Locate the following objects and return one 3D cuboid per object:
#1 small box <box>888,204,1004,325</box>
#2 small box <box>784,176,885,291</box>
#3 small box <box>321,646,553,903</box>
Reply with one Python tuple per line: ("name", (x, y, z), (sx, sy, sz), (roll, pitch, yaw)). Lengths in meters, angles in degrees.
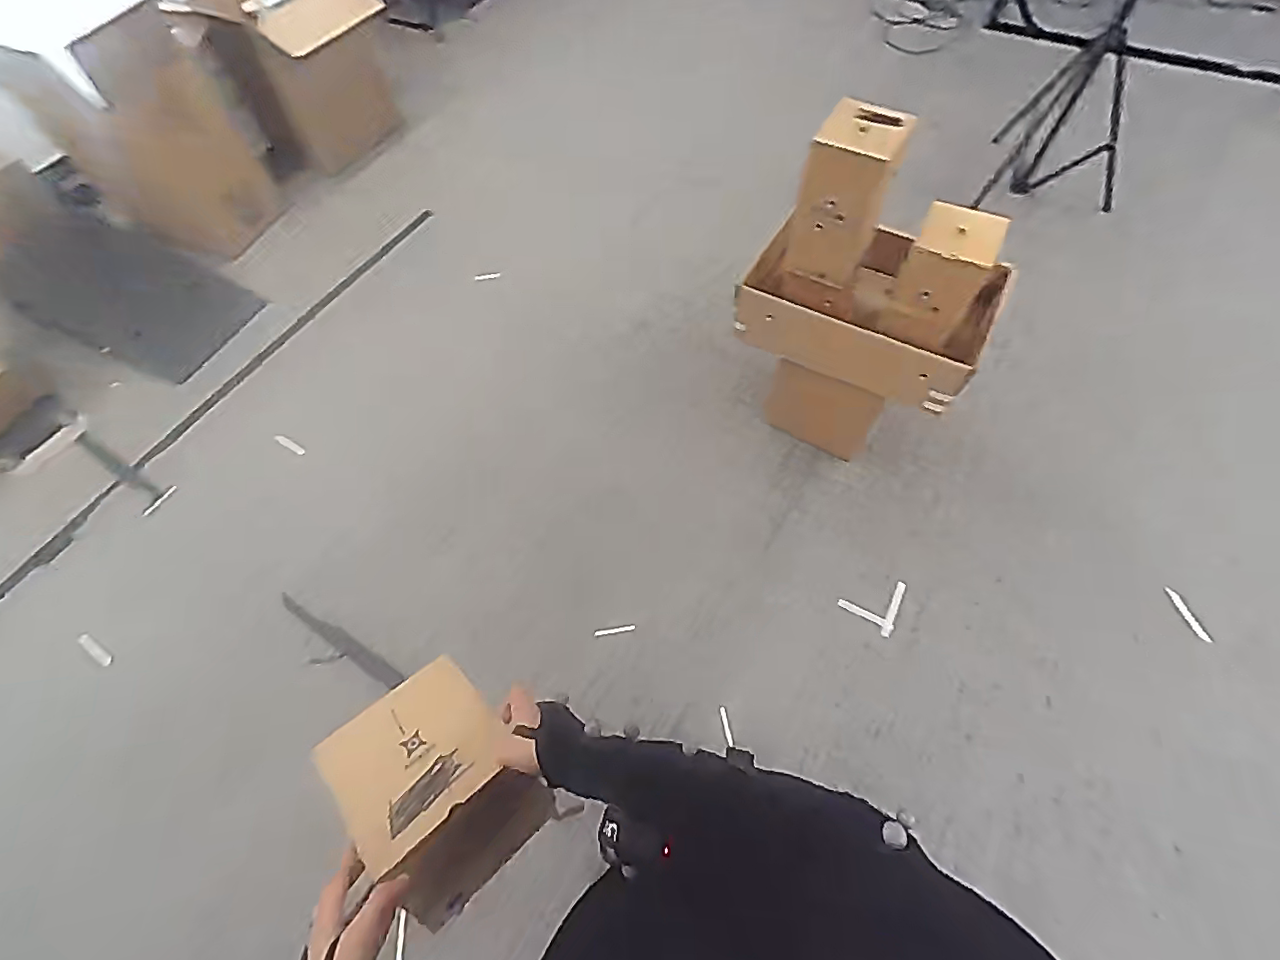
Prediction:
("small box", (0.704, -0.498, 1.260), (0.168, 0.176, 0.179), (24, 66, 16))
("small box", (0.472, -0.607, 1.337), (0.168, 0.176, 0.179), (27, 65, 17))
("small box", (-0.221, 0.337, 0.621), (0.168, 0.176, 0.179), (-33, 45, -31))
